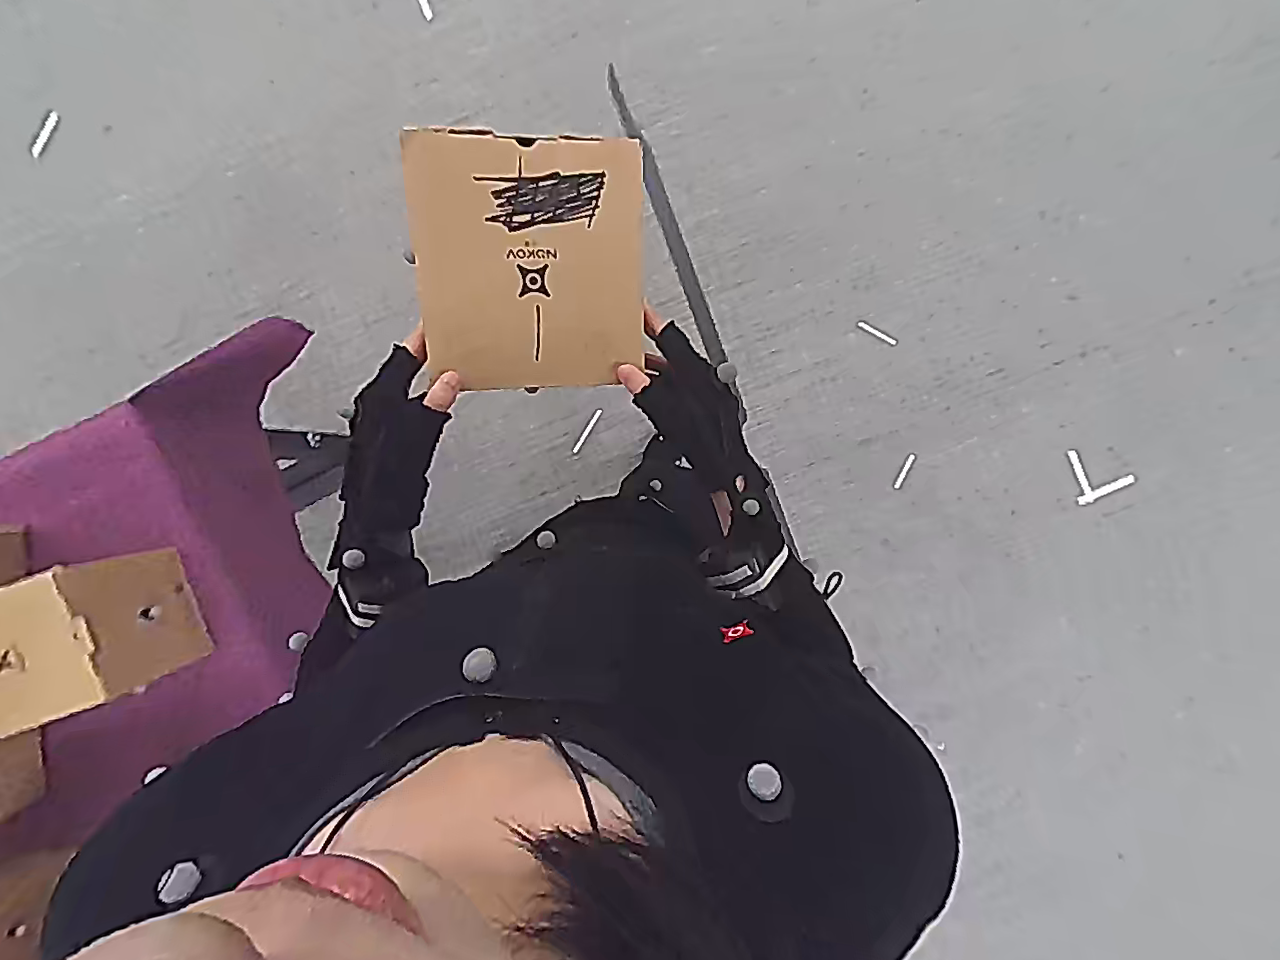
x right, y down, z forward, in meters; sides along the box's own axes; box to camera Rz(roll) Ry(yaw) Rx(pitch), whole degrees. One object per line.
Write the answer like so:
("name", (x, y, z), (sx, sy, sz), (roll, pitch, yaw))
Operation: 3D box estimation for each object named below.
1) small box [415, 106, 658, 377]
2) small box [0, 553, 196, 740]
("small box", (-0.084, -0.182, 0.461), (0.168, 0.176, 0.179), (-4, 106, -11))
("small box", (-0.724, 0.205, 0.694), (0.179, 0.176, 0.168), (-19, 92, -1))
